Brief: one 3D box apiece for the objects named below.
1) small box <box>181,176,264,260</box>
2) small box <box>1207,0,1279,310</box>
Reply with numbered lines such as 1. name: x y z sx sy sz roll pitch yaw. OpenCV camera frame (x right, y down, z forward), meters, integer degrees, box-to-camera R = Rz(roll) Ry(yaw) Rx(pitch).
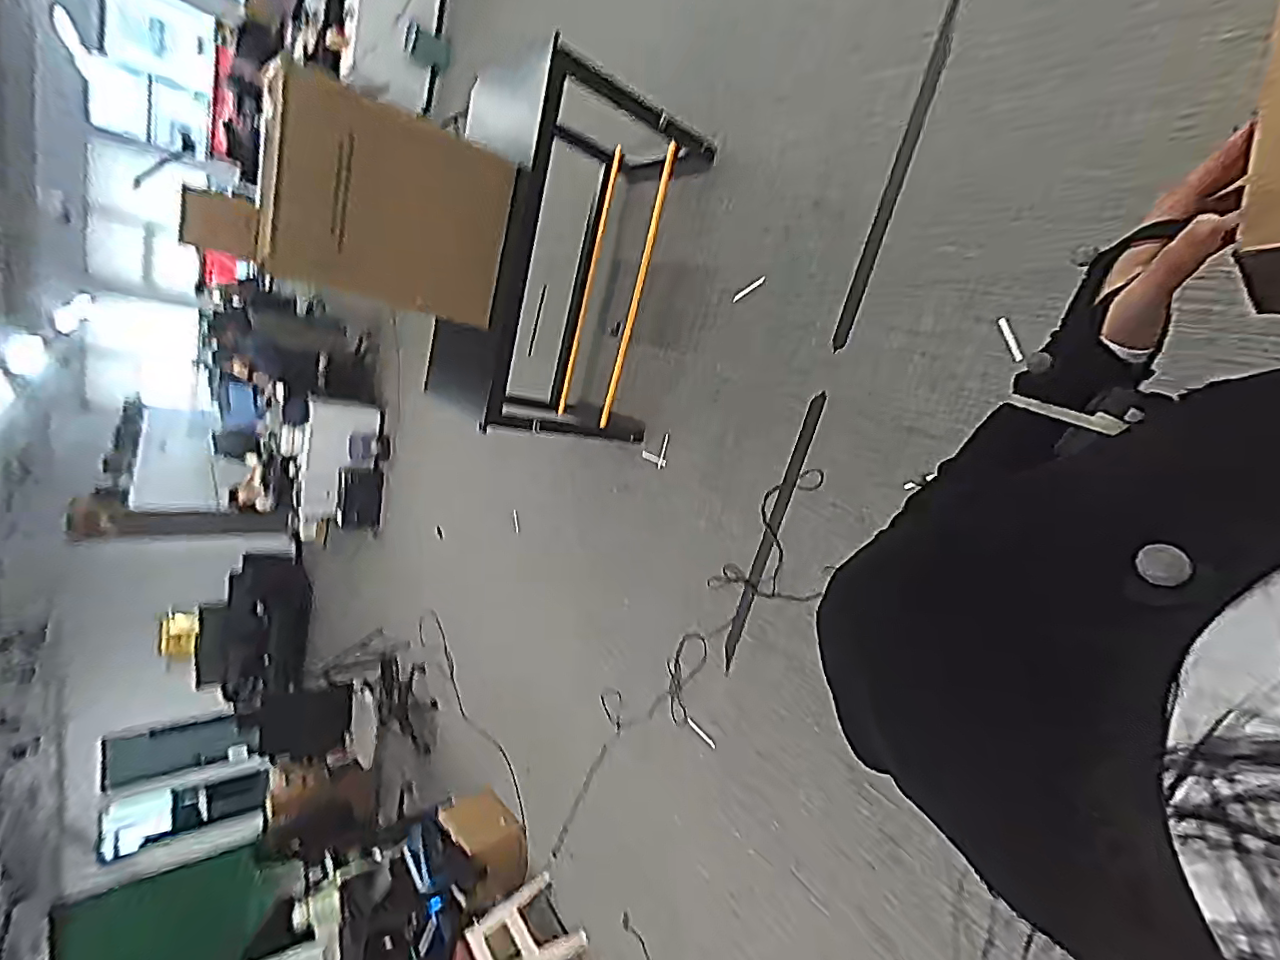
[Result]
1. small box: -1.176 -0.731 1.526 0.179 0.176 0.168 27 108 48
2. small box: 0.436 -0.204 0.282 0.168 0.176 0.179 9 97 53
